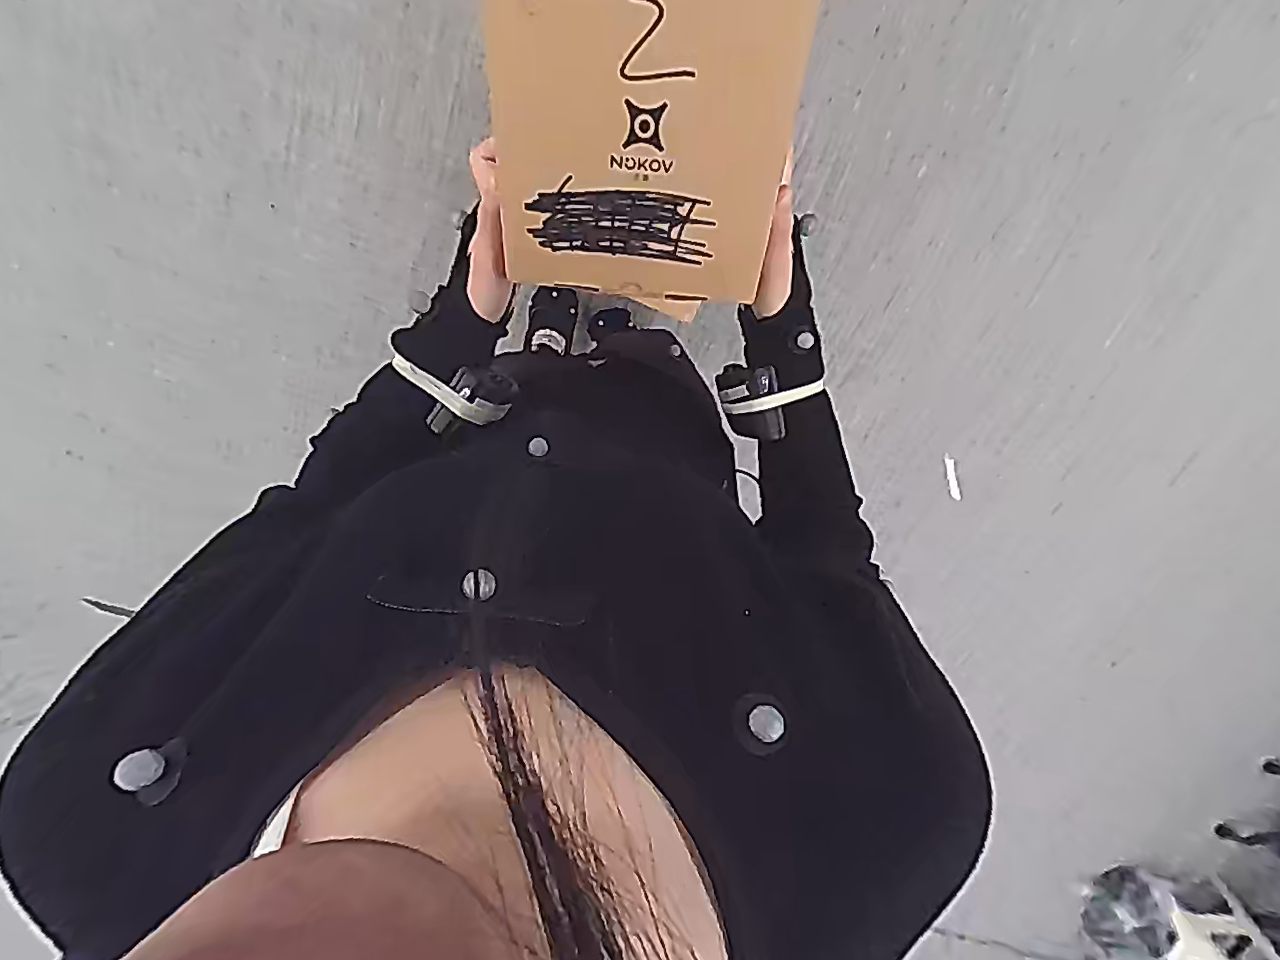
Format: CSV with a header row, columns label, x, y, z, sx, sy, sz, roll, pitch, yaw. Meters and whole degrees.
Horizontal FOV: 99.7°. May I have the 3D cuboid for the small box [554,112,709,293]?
label,x,y,z,sx,sy,sz,roll,pitch,yaw
small box,-0.018,-0.401,0.804,0.168,0.176,0.179,19,112,-10
